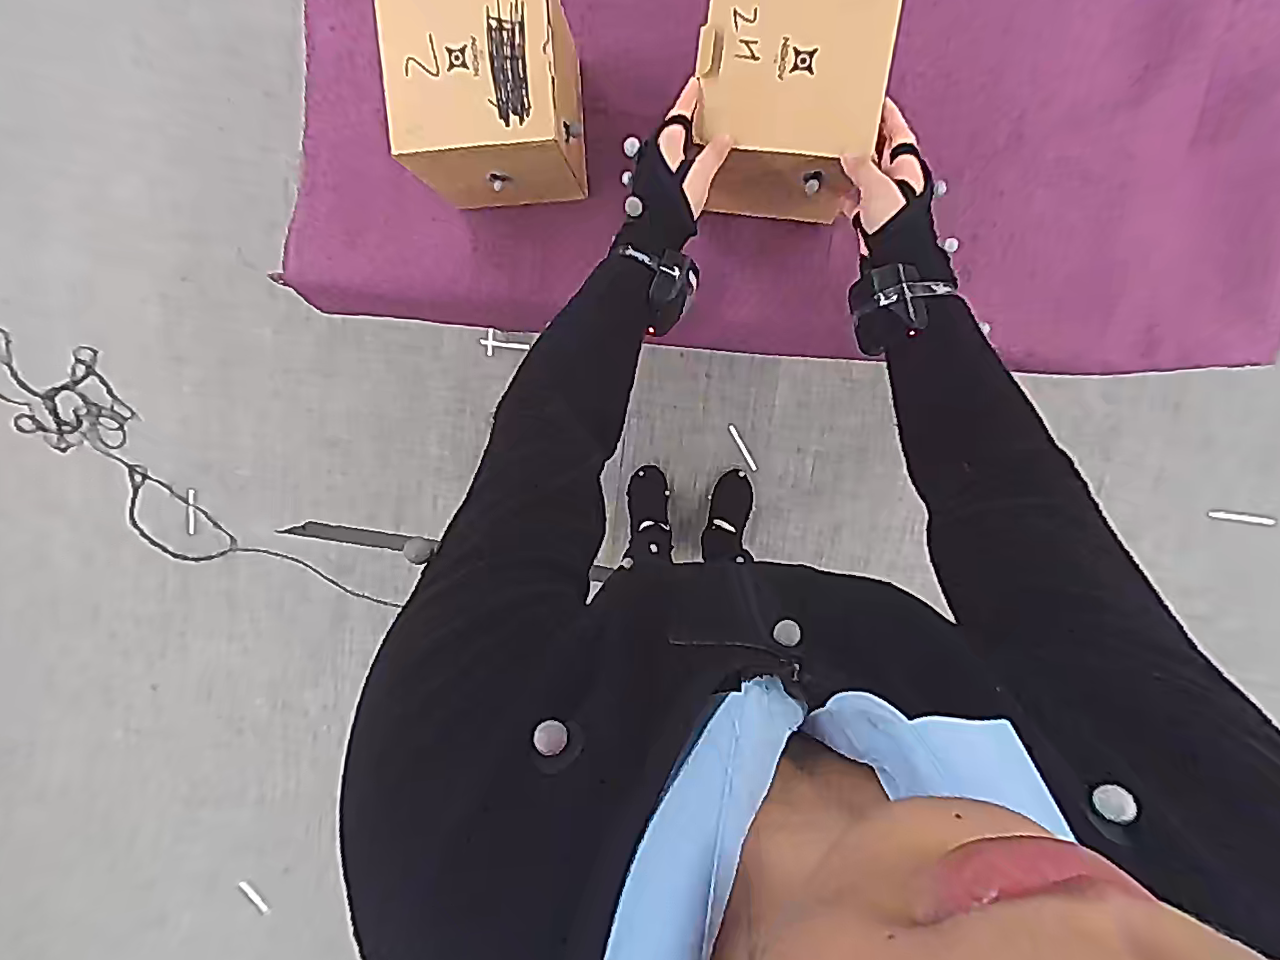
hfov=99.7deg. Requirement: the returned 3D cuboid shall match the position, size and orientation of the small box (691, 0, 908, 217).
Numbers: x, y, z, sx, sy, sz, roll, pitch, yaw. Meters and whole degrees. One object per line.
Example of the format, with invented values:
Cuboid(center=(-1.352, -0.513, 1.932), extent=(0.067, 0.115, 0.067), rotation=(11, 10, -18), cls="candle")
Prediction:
Cuboid(center=(0.155, -0.398, 0.577), extent=(0.179, 0.176, 0.168), rotation=(9, 98, 6), cls="small box")
